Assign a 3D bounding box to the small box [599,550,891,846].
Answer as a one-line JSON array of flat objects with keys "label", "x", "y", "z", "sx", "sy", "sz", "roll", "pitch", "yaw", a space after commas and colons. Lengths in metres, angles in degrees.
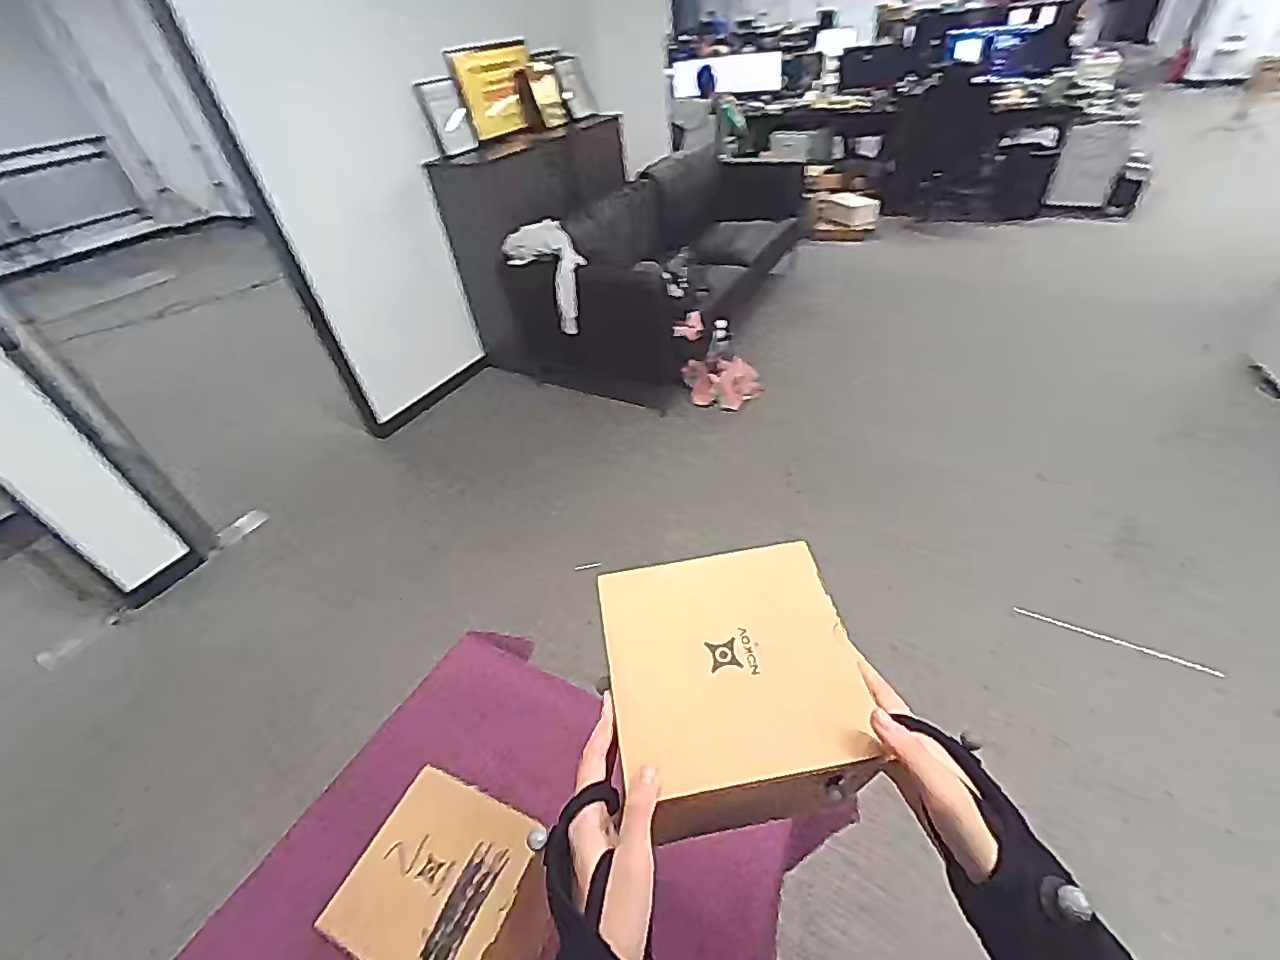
[{"label": "small box", "x": 0.068, "y": 0.183, "z": 0.447, "sx": 0.179, "sy": 0.176, "sz": 0.168, "roll": -8, "pitch": 49, "yaw": -4}]
